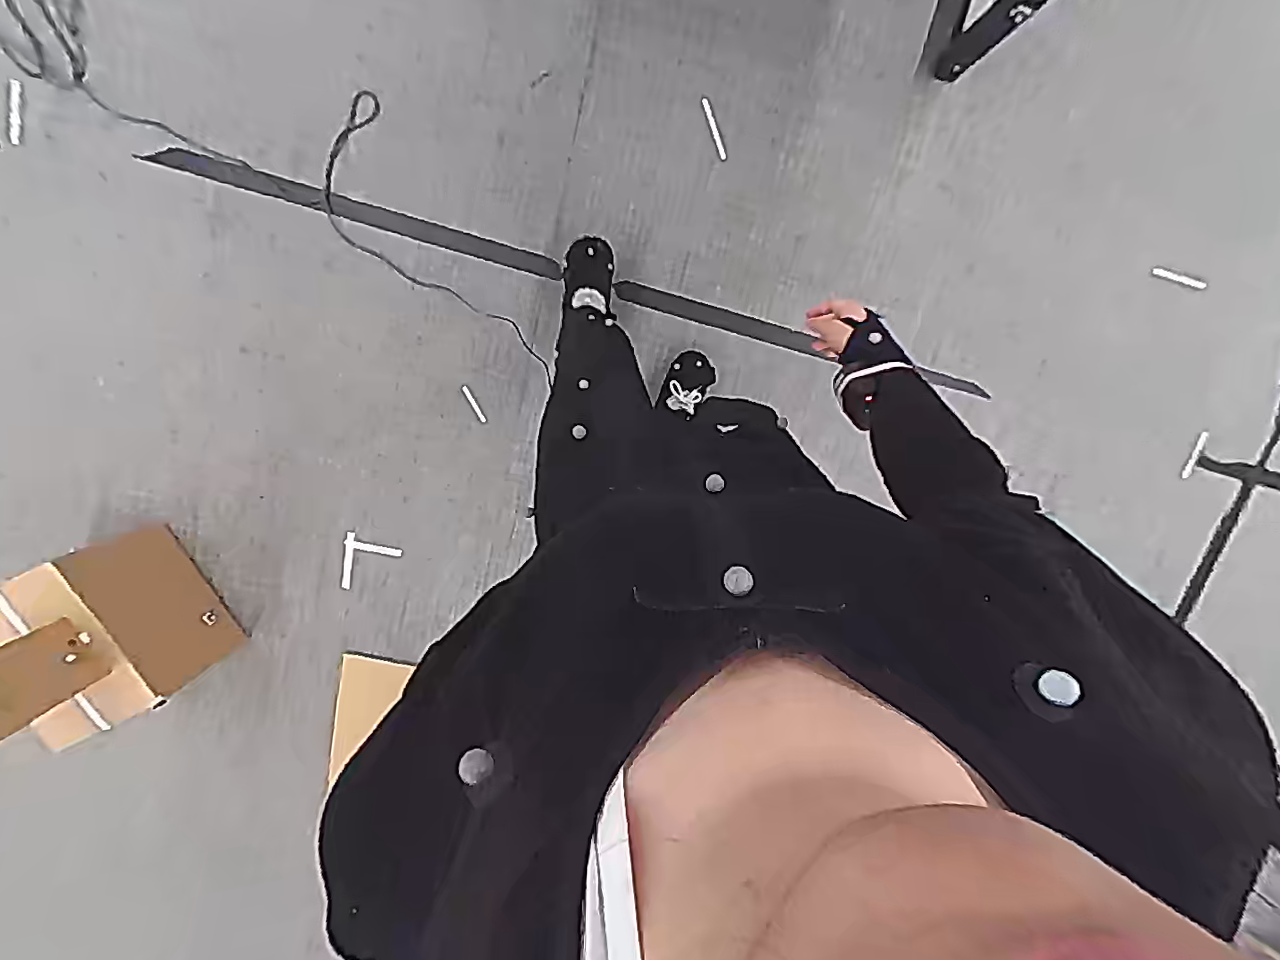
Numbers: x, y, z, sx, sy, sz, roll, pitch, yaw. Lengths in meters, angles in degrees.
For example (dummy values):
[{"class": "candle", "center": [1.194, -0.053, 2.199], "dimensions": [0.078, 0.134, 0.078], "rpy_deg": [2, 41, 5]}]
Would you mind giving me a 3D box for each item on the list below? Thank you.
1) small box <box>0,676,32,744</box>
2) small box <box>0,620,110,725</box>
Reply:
[{"class": "small box", "center": [-1.332, 0.473, 1.008], "dimensions": [0.179, 0.176, 0.168], "rpy_deg": [-26, 102, 5]}, {"class": "small box", "center": [-1.332, 0.435, 1.168], "dimensions": [0.179, 0.176, 0.168], "rpy_deg": [-26, 102, 4]}]
